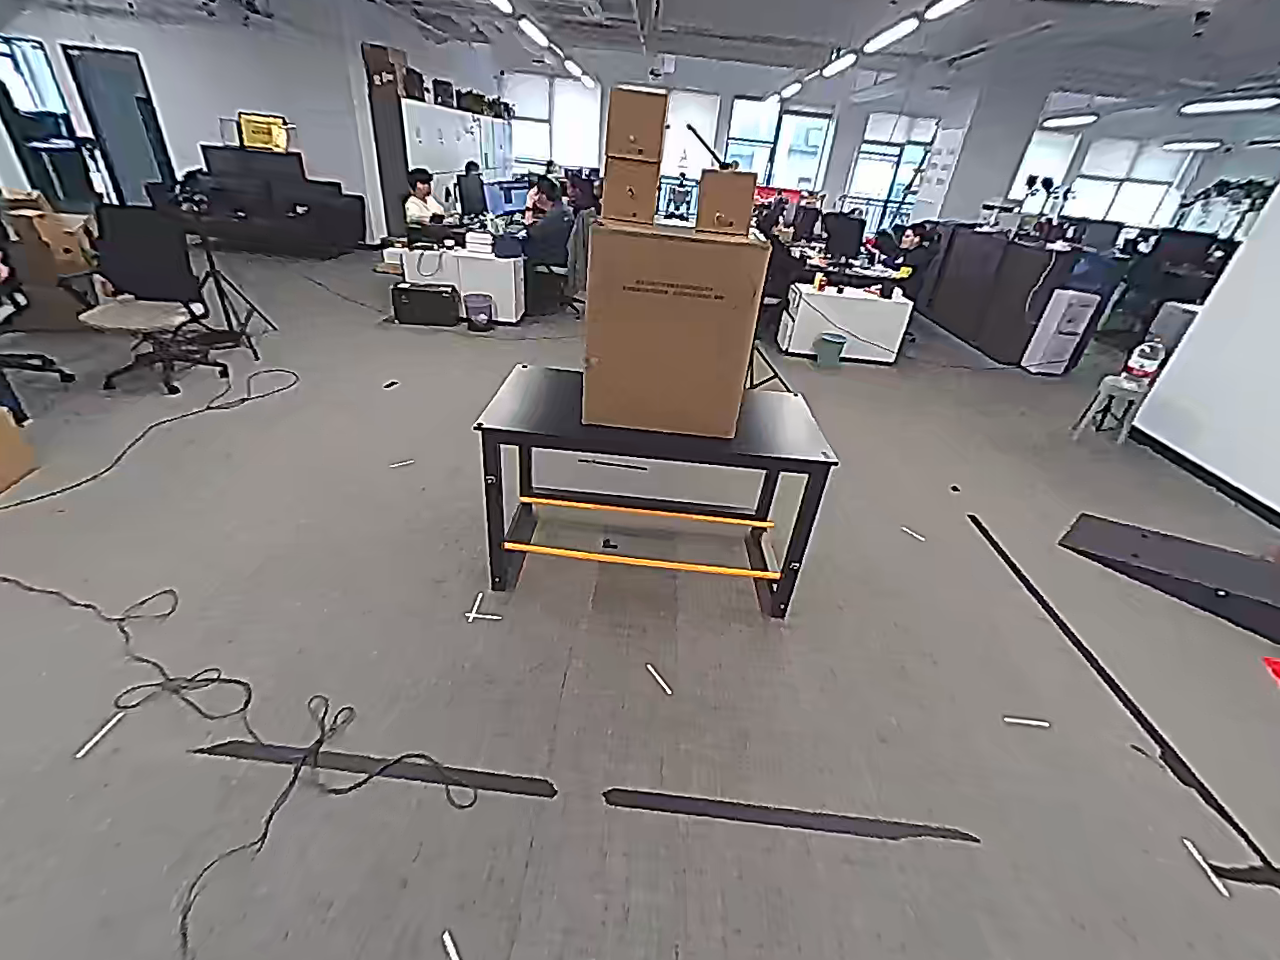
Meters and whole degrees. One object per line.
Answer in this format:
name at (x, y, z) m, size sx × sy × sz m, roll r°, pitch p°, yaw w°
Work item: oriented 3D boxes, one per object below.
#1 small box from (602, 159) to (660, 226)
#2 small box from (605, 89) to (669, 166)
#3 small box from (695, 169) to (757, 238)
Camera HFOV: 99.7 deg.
small box at (-0.029, -0.907, 1.704) m, size 0.168 × 0.176 × 0.179 m, roll 7°, pitch 31°, yaw -1°
small box at (-0.009, -1.039, 1.604) m, size 0.168 × 0.176 × 0.179 m, roll 7°, pitch 31°, yaw 0°
small box at (0.260, -0.854, 1.667) m, size 0.168 × 0.176 × 0.179 m, roll 5°, pitch 31°, yaw 3°
